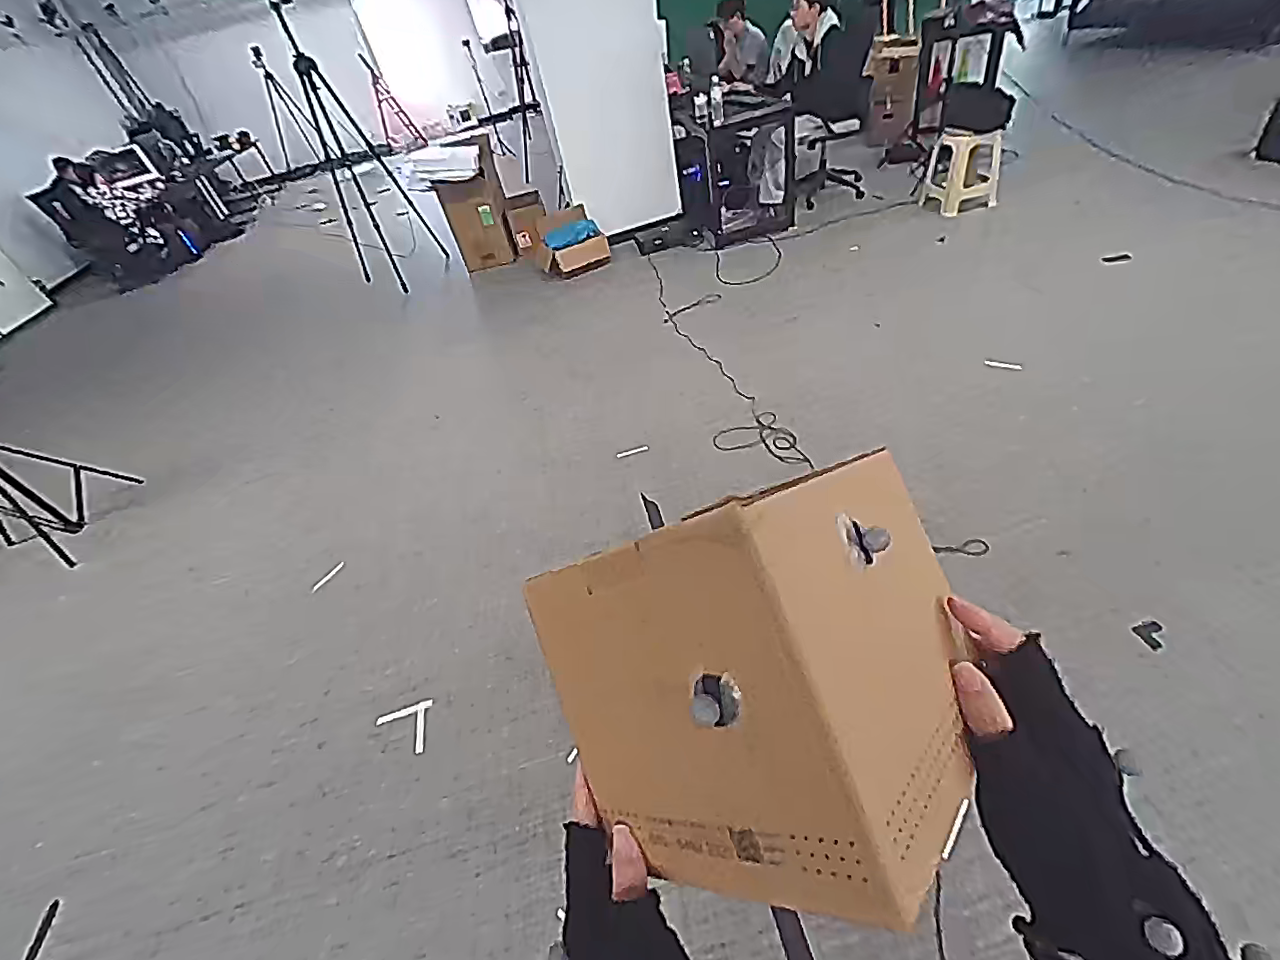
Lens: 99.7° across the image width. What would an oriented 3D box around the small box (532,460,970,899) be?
[{"bbox_3d":[0.069,0.106,0.332,0.179,0.176,0.168,-14,-10,-45],"label":"small box"}]
